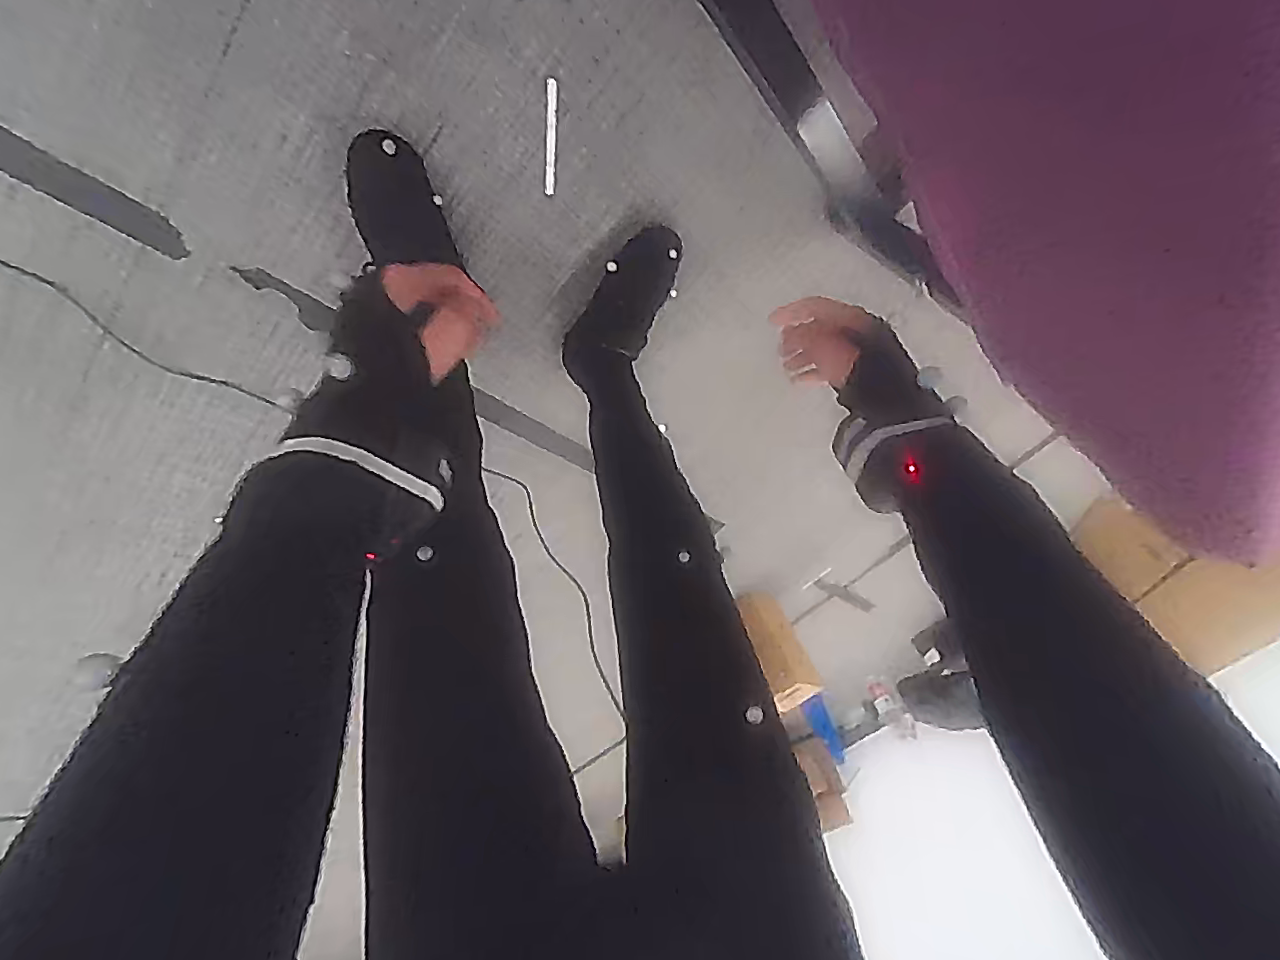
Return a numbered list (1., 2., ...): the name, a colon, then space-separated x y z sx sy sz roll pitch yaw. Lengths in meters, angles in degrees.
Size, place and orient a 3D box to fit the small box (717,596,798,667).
1. small box: 0.397 0.515 1.846 0.179 0.176 0.168 24 121 -39
